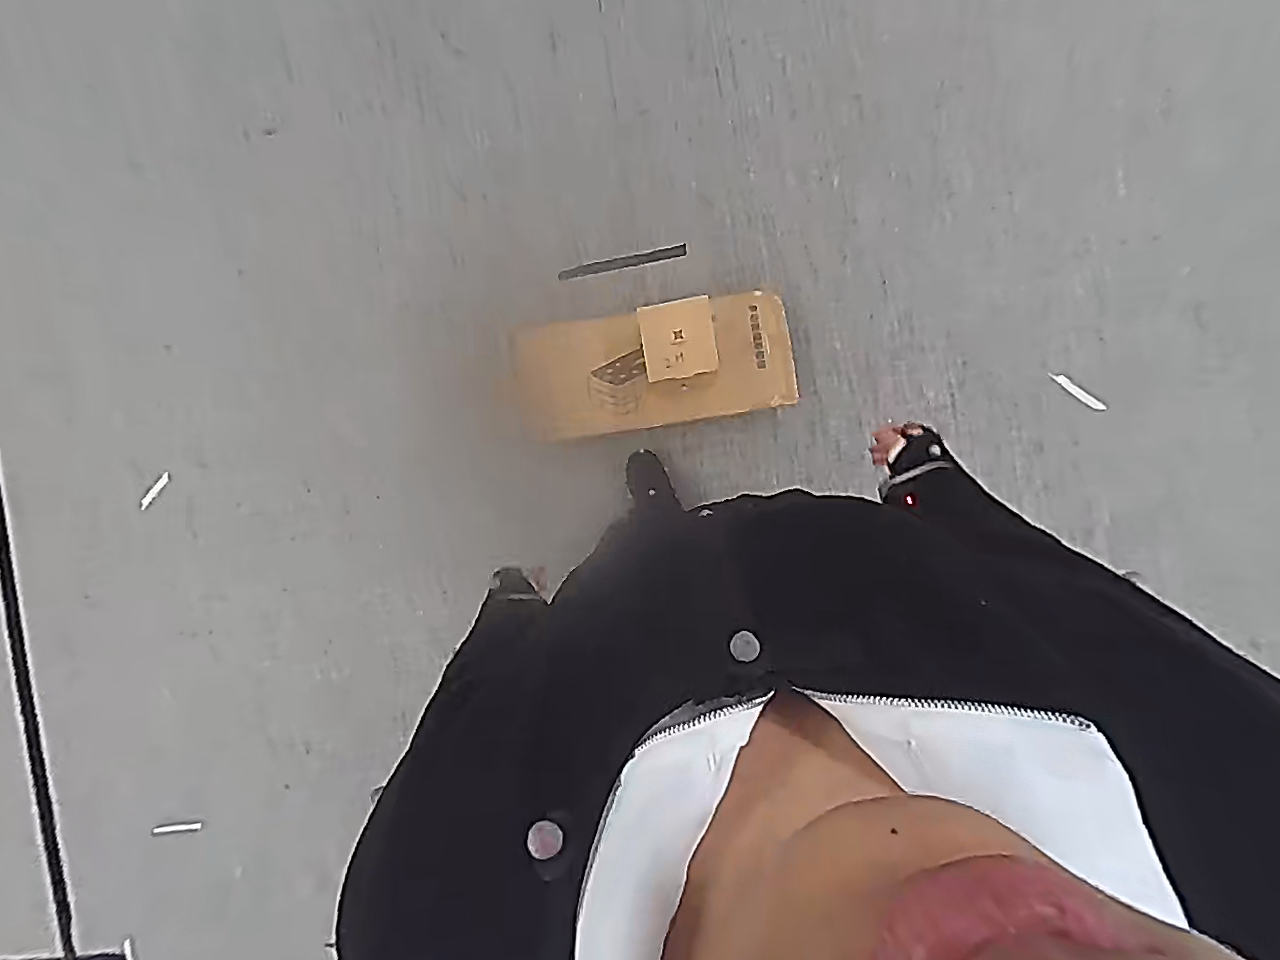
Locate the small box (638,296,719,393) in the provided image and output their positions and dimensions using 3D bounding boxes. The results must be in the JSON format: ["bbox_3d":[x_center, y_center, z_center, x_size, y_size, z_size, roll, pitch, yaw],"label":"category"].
[{"bbox_3d":[0.090,-0.320,1.304,0.168,0.176,0.179,-9,90,4],"label":"small box"}]
